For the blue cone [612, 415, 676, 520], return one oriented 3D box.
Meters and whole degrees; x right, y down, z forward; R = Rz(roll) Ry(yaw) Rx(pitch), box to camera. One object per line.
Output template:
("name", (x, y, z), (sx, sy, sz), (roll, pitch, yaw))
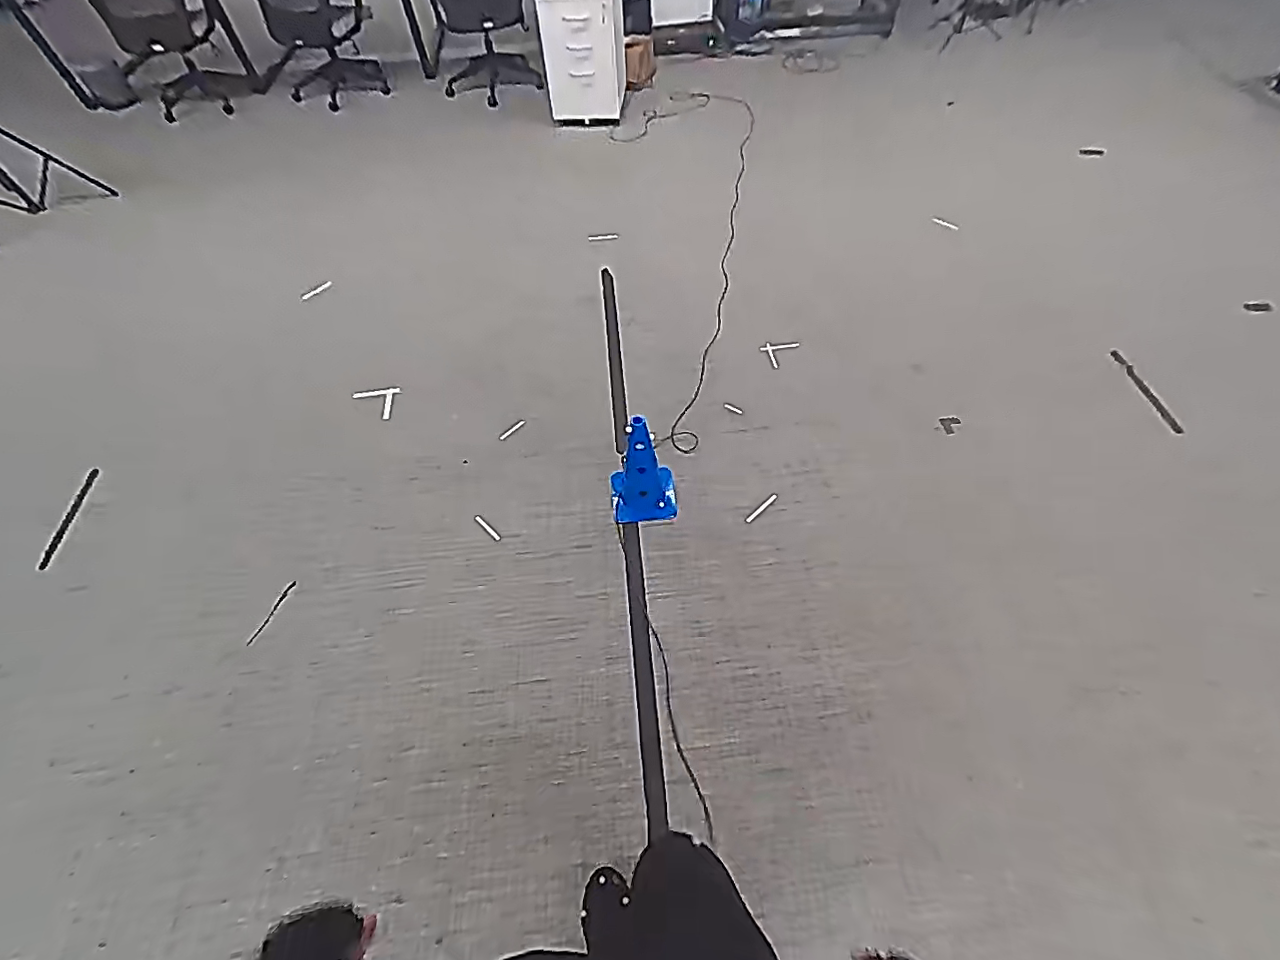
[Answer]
("blue cone", (0.003, -0.059, 1.583), (0.193, 0.380, 0.192), (-6, 54, -3))
